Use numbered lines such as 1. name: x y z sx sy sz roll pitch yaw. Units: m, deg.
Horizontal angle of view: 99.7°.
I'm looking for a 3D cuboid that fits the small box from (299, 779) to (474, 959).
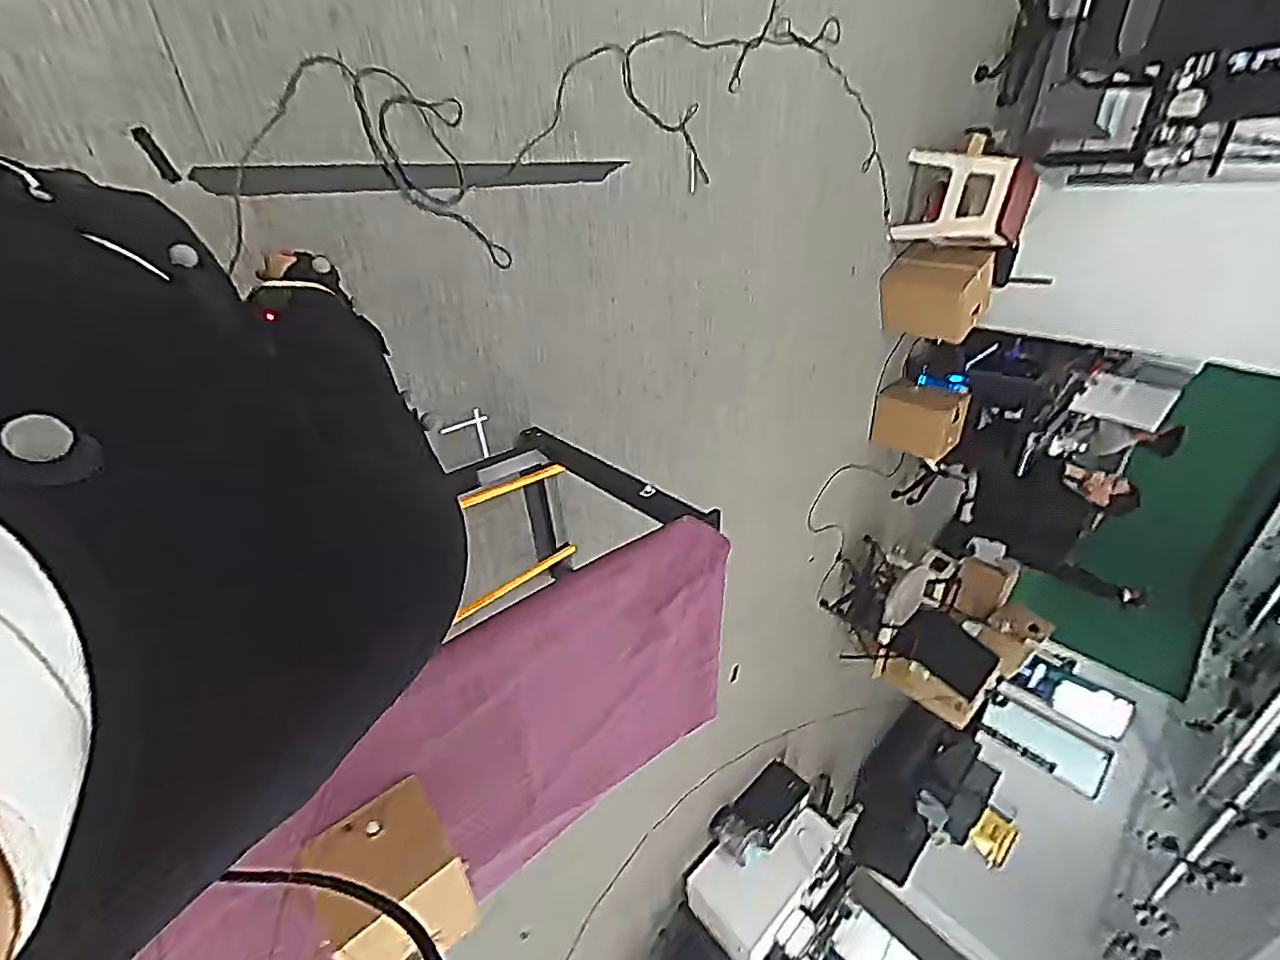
1. small box: -0.367 0.589 0.791 0.168 0.176 0.179 -24 125 -36
